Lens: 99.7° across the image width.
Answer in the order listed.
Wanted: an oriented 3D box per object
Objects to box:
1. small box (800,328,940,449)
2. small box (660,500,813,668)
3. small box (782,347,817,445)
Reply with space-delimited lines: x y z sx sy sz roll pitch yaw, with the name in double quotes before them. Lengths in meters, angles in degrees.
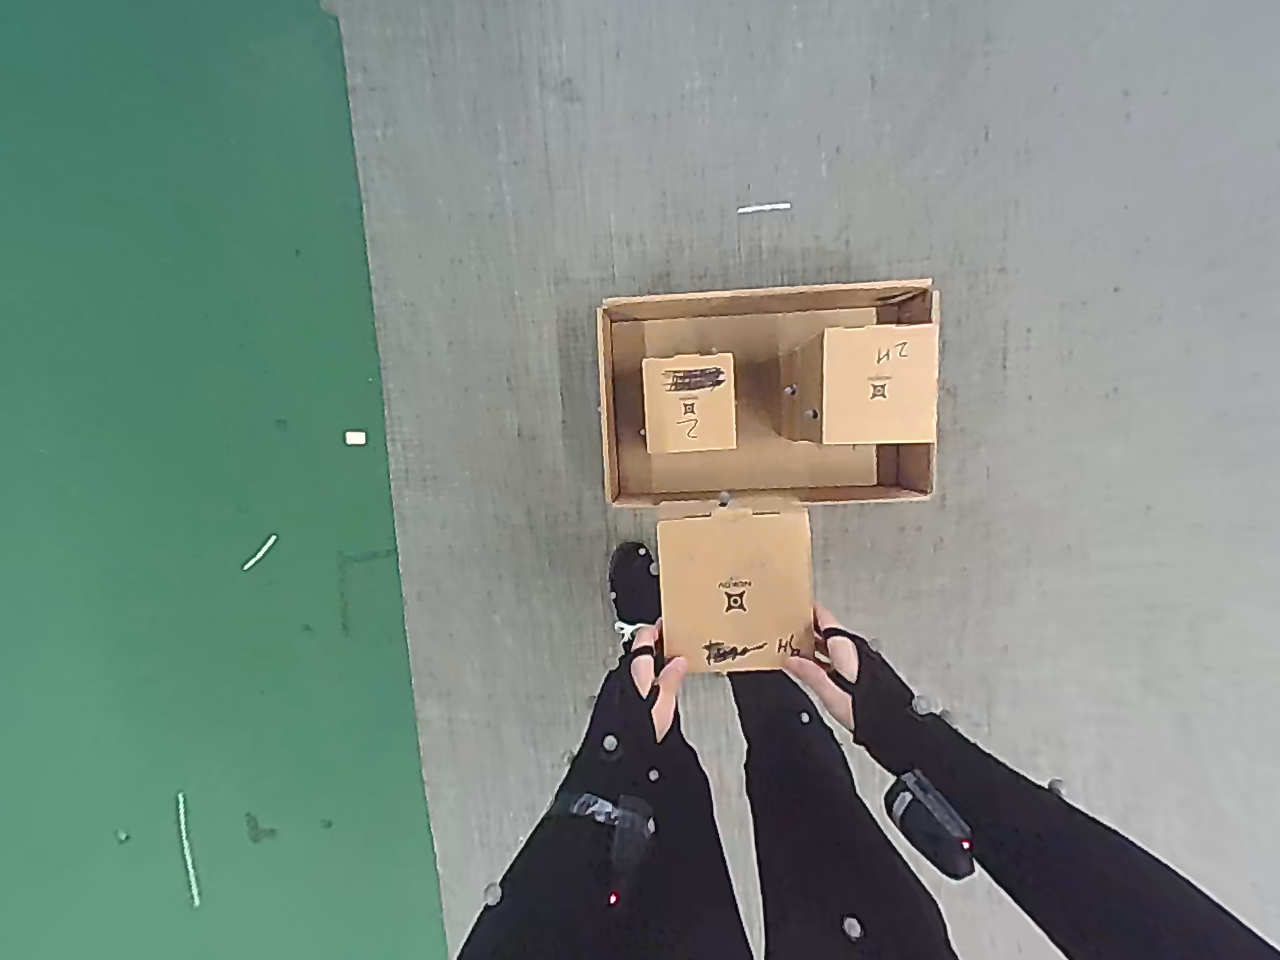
"small box" 0.361 -0.144 0.878 0.168 0.176 0.179 -1 96 5
"small box" 0.109 0.117 0.672 0.168 0.176 0.179 -3 92 4
"small box" 0.373 -0.160 1.042 0.168 0.176 0.179 -1 96 5
